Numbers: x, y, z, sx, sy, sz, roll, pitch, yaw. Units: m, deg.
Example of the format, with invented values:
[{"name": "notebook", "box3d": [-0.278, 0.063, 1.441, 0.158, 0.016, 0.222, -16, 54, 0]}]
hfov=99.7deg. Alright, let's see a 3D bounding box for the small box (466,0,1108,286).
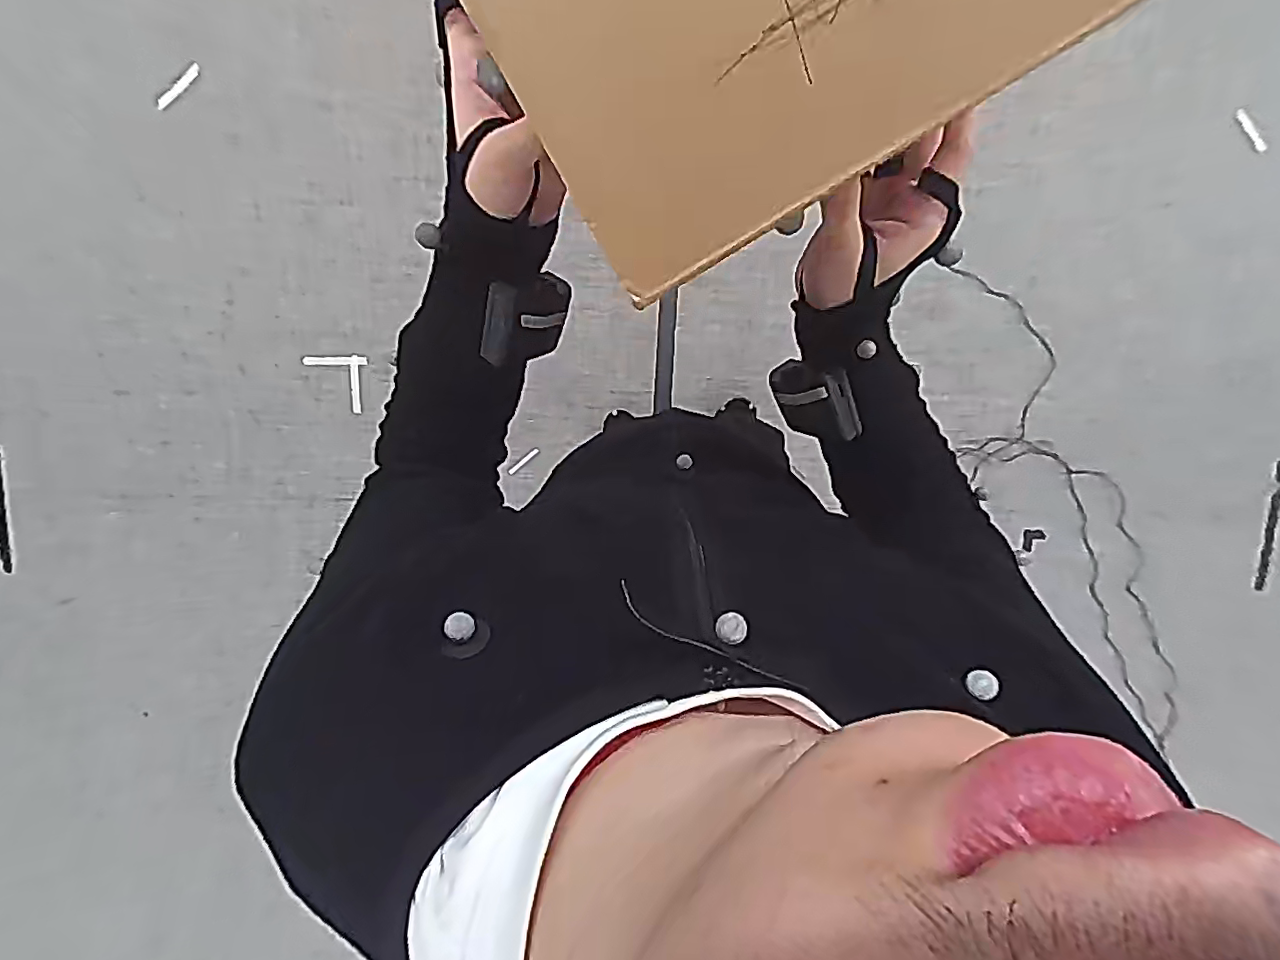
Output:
[{"name": "small box", "box3d": [0.031, -0.203, 0.213, 0.168, 0.176, 0.179, -27, 110, 19]}]
